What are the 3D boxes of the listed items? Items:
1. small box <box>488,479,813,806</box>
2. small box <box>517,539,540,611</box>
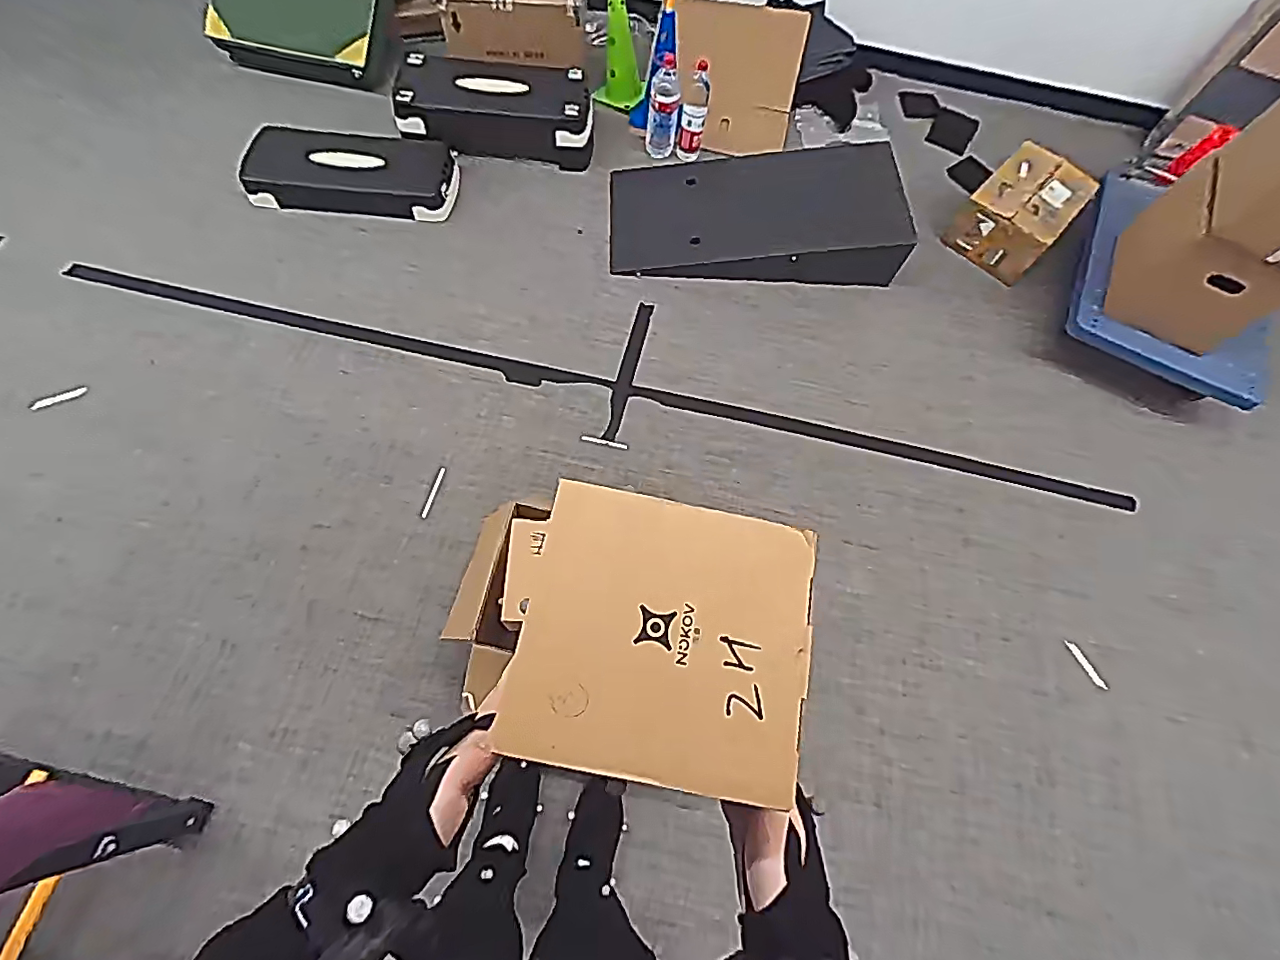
[{"bbox_3d":[0.008,0.117,0.404,0.179,0.176,0.168,12,70,-1],"label":"small box"},{"bbox_3d":[-0.161,0.222,1.146,0.179,0.176,0.168,-5,70,-11],"label":"small box"}]
